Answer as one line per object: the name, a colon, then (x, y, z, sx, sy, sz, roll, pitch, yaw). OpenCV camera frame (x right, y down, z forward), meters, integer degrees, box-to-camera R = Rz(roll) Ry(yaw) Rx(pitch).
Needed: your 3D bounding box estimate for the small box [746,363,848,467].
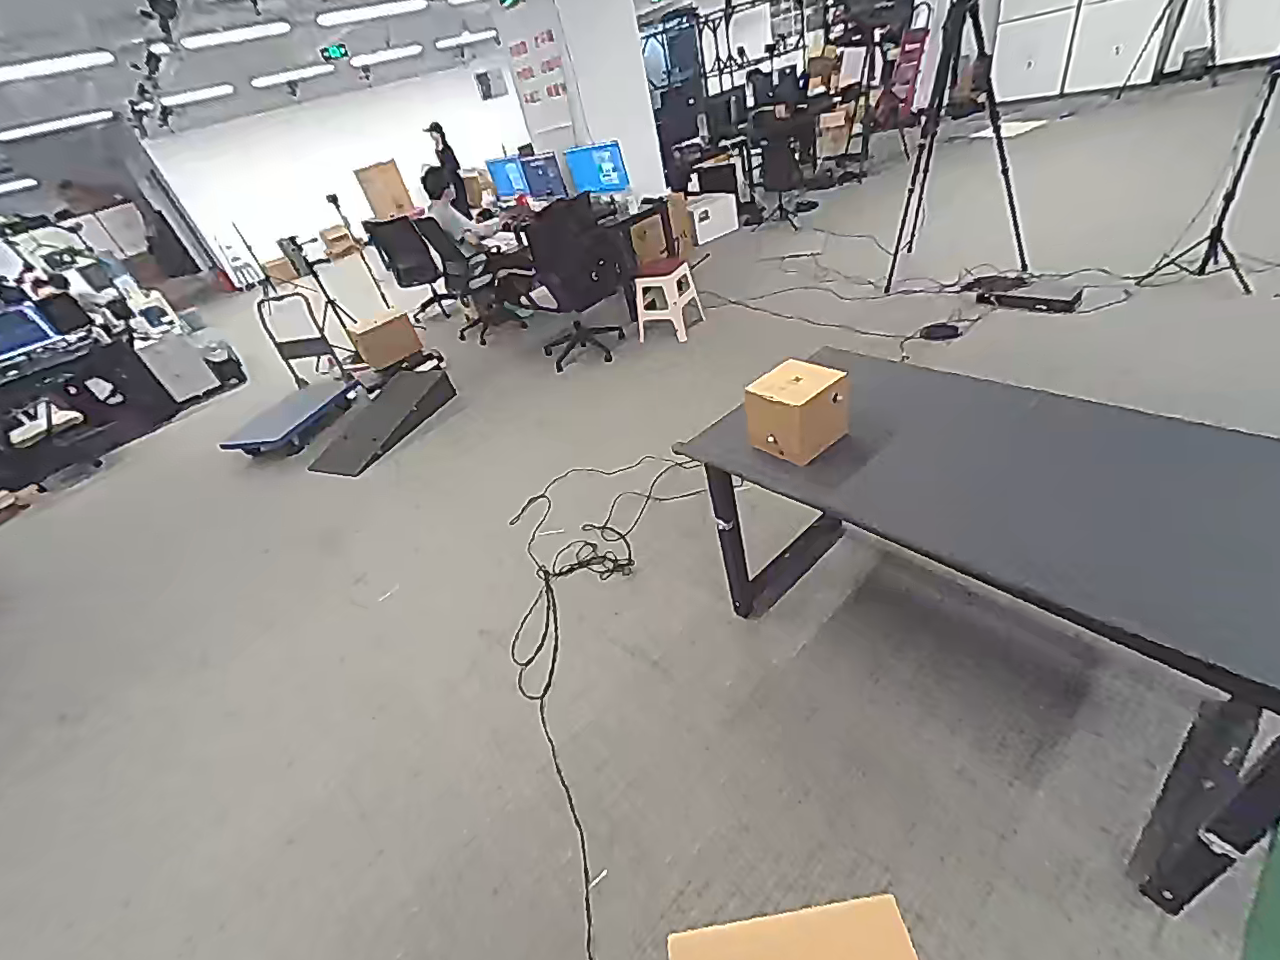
small box: (0.379, -0.160, 1.314, 0.179, 0.176, 0.168, -33, 39, -24)
